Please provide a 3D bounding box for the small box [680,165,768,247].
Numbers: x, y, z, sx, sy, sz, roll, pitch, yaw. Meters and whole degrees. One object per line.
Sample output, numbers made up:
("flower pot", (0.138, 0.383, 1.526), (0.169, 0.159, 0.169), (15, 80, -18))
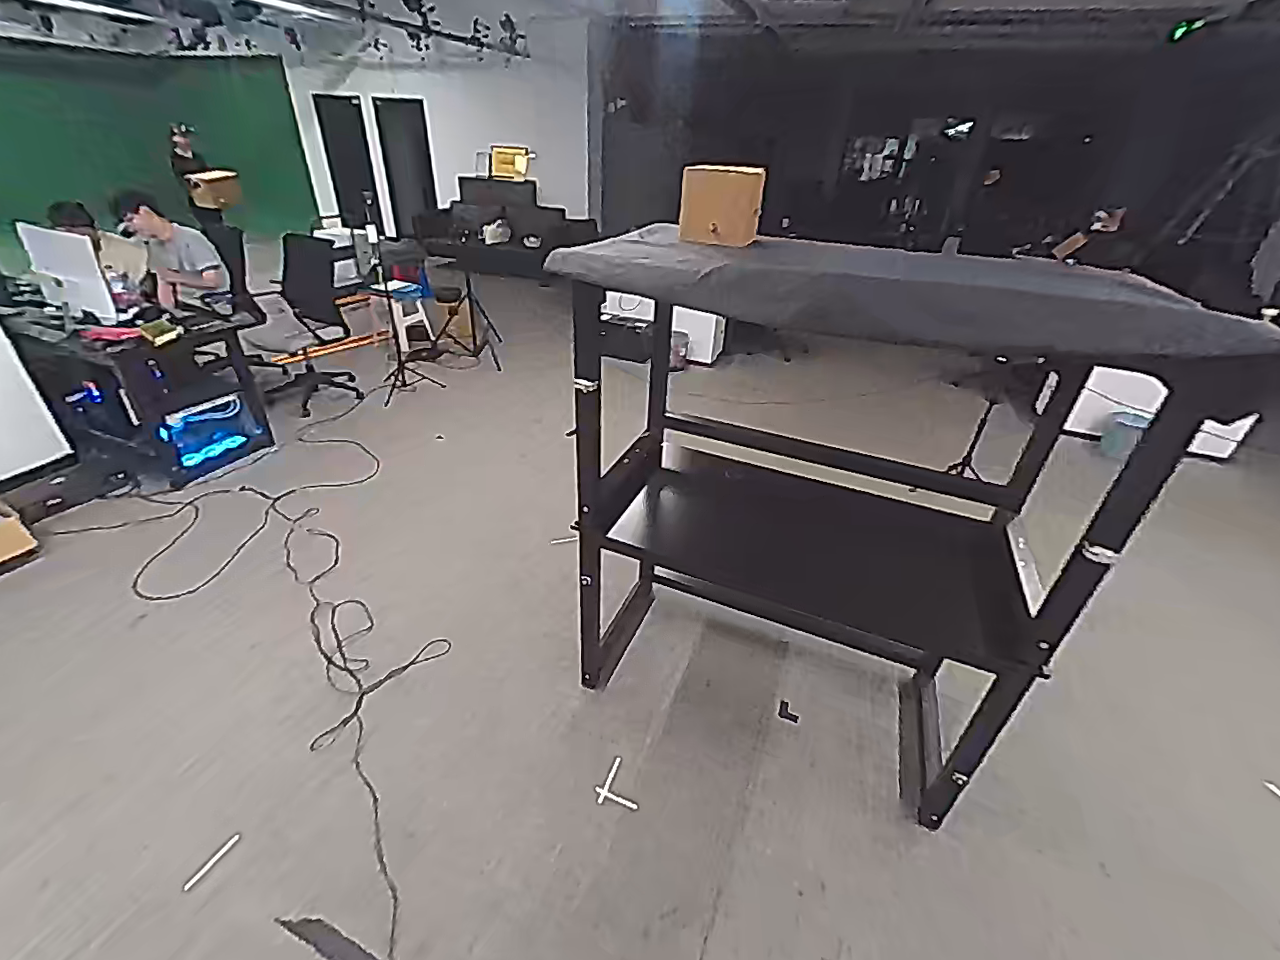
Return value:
("small box", (0.216, -0.709, 1.399), (0.179, 0.176, 0.168), (15, 34, 16))
